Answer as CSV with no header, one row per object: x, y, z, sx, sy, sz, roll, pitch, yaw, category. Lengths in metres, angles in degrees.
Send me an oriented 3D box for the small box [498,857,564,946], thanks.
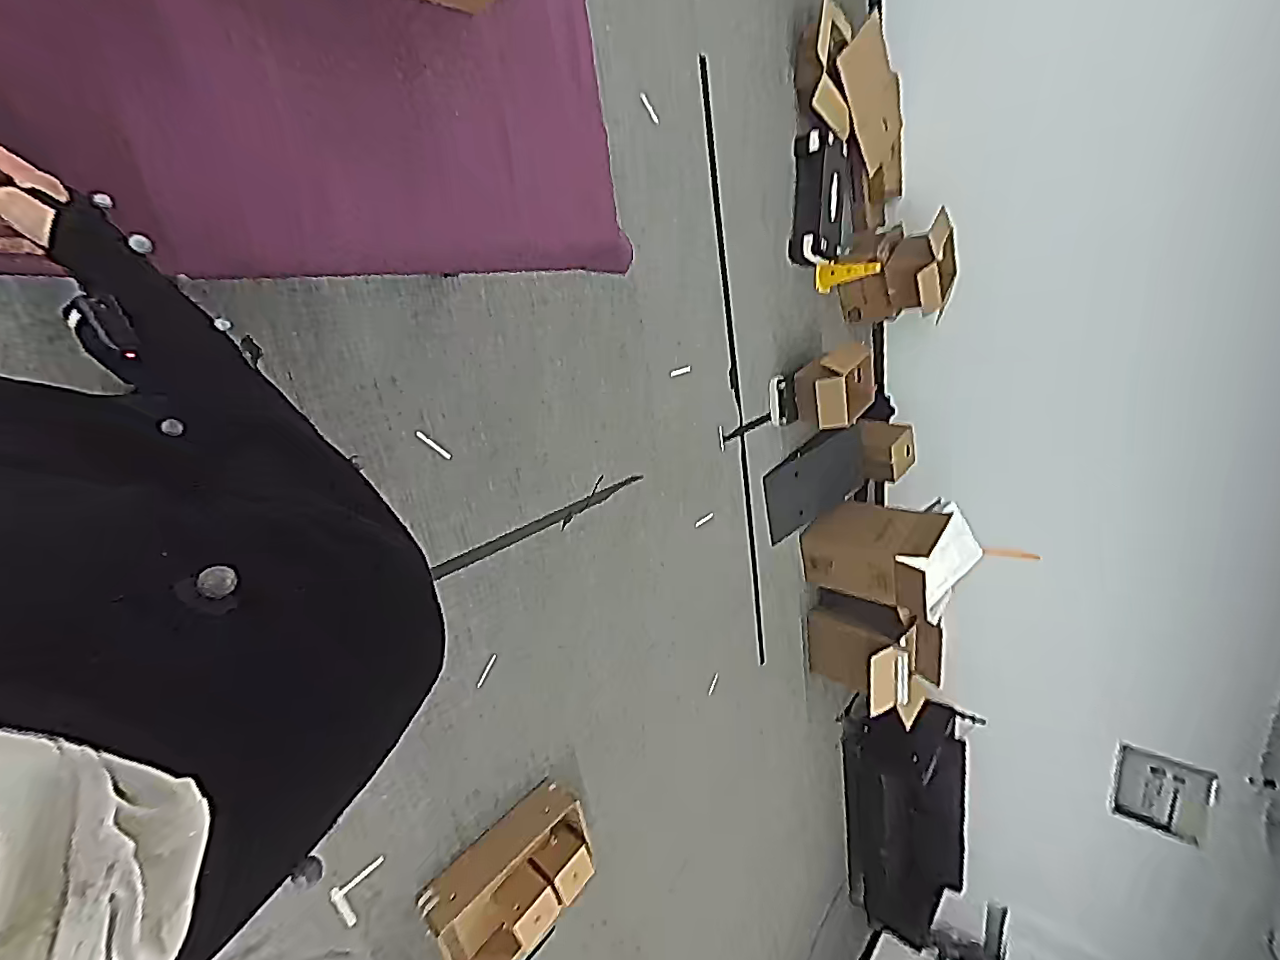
-0.429,1.628,2.096,0.179,0.176,0.168,-34,119,-37,small box
